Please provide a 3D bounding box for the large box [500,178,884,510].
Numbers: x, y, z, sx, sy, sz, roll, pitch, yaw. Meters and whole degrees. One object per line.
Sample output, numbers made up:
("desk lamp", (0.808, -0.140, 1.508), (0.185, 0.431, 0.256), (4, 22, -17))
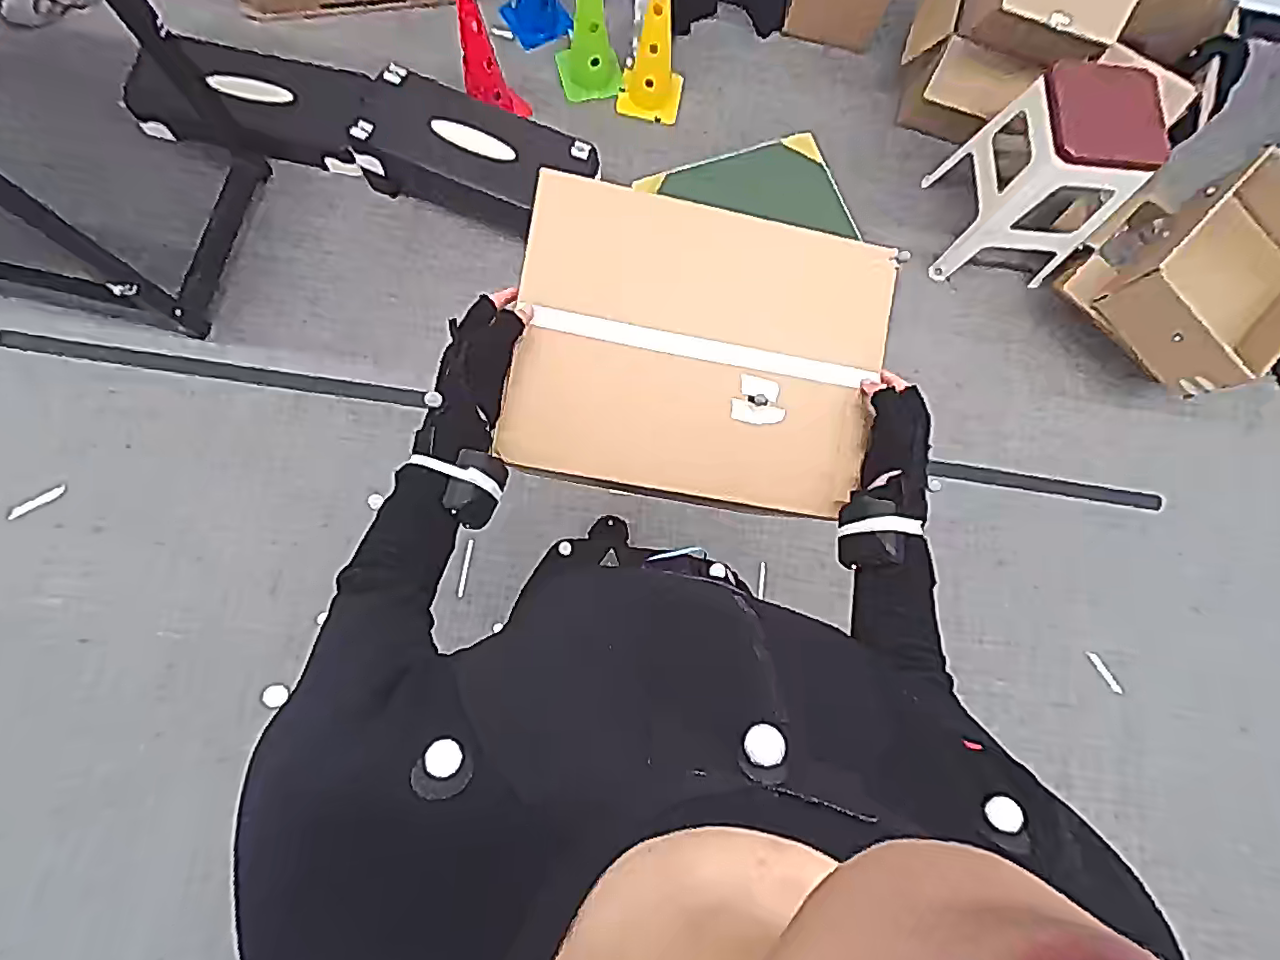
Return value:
("large box", (0.048, -0.144, 0.748), (0.408, 0.320, 0.320), (11, 88, -7))
